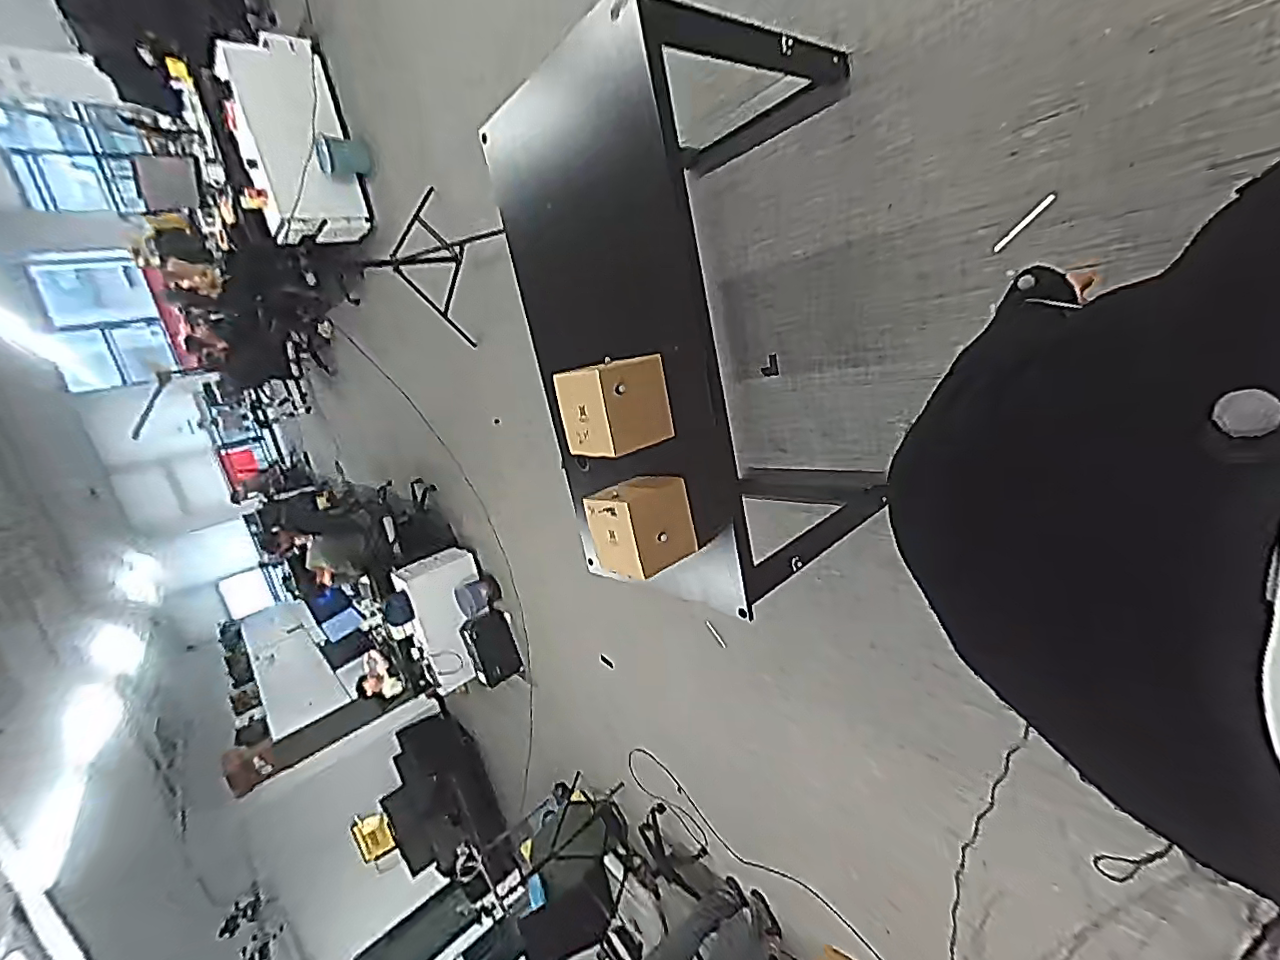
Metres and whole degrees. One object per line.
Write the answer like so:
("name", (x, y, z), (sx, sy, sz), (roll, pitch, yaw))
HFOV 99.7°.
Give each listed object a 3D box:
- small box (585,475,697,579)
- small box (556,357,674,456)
("small box", (0.007, 0.098, 1.219), (0.168, 0.176, 0.179), (2, 110, 51))
("small box", (-0.051, -0.161, 1.153), (0.168, 0.176, 0.179), (8, 115, 50))
